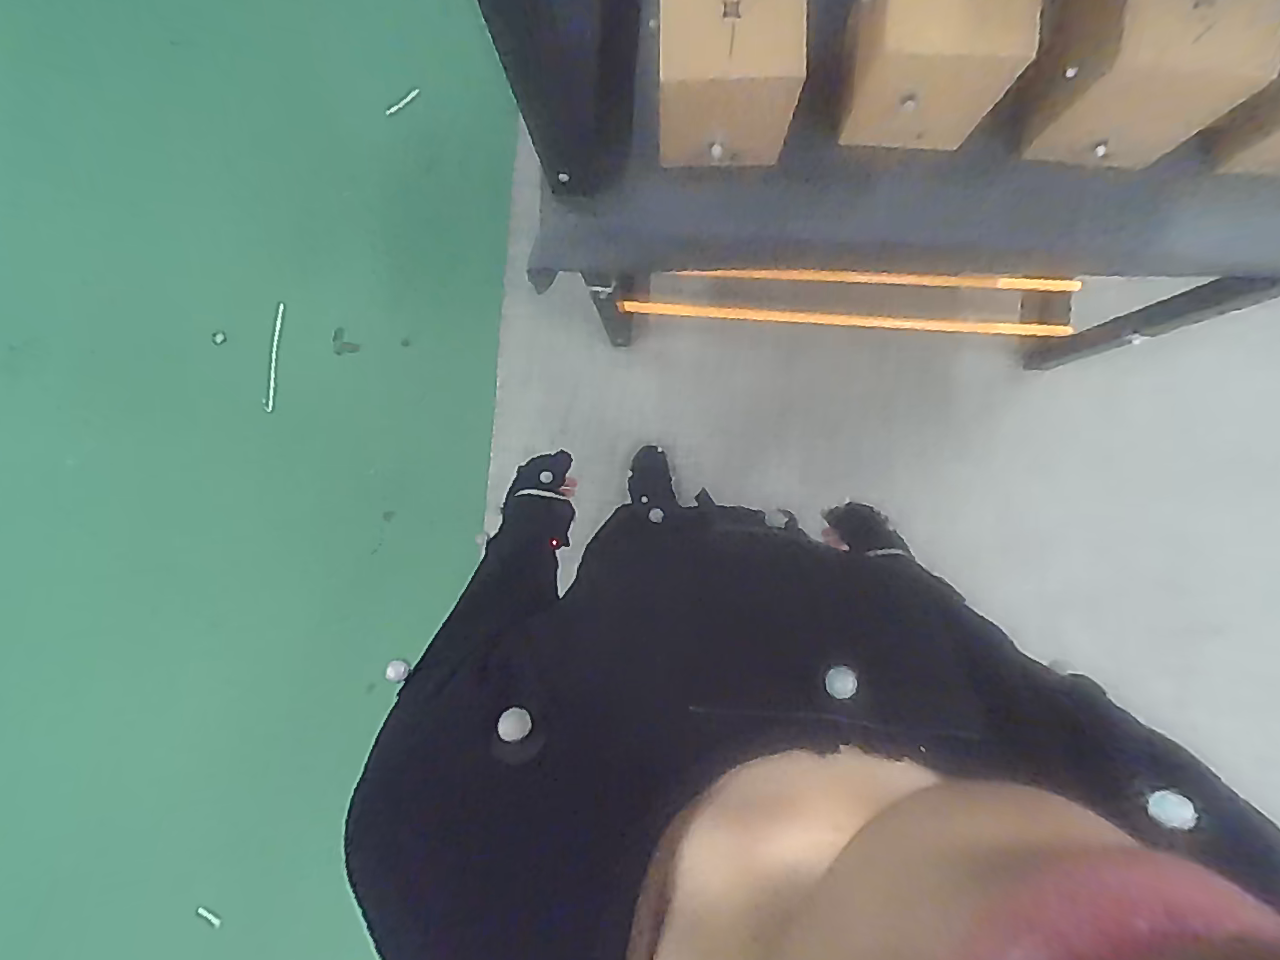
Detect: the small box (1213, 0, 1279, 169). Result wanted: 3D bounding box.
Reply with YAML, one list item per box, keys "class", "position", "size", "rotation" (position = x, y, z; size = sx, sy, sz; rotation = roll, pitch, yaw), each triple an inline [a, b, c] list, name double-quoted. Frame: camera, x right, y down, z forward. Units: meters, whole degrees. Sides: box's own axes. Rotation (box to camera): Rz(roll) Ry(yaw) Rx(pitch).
- class: "small box"
  position: [0.852, -0.496, 0.646]
  size: [0.168, 0.176, 0.179]
  rotation: [4, 88, 3]

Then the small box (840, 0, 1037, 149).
- class: "small box"
  position: [0.362, -0.550, 0.679]
  size: [0.168, 0.176, 0.179]
  rotation: [5, 88, 3]

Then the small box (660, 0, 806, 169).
- class: "small box"
  position: [0.109, -0.533, 0.691]
  size: [0.168, 0.176, 0.179]
  rotation: [0, 89, 3]
